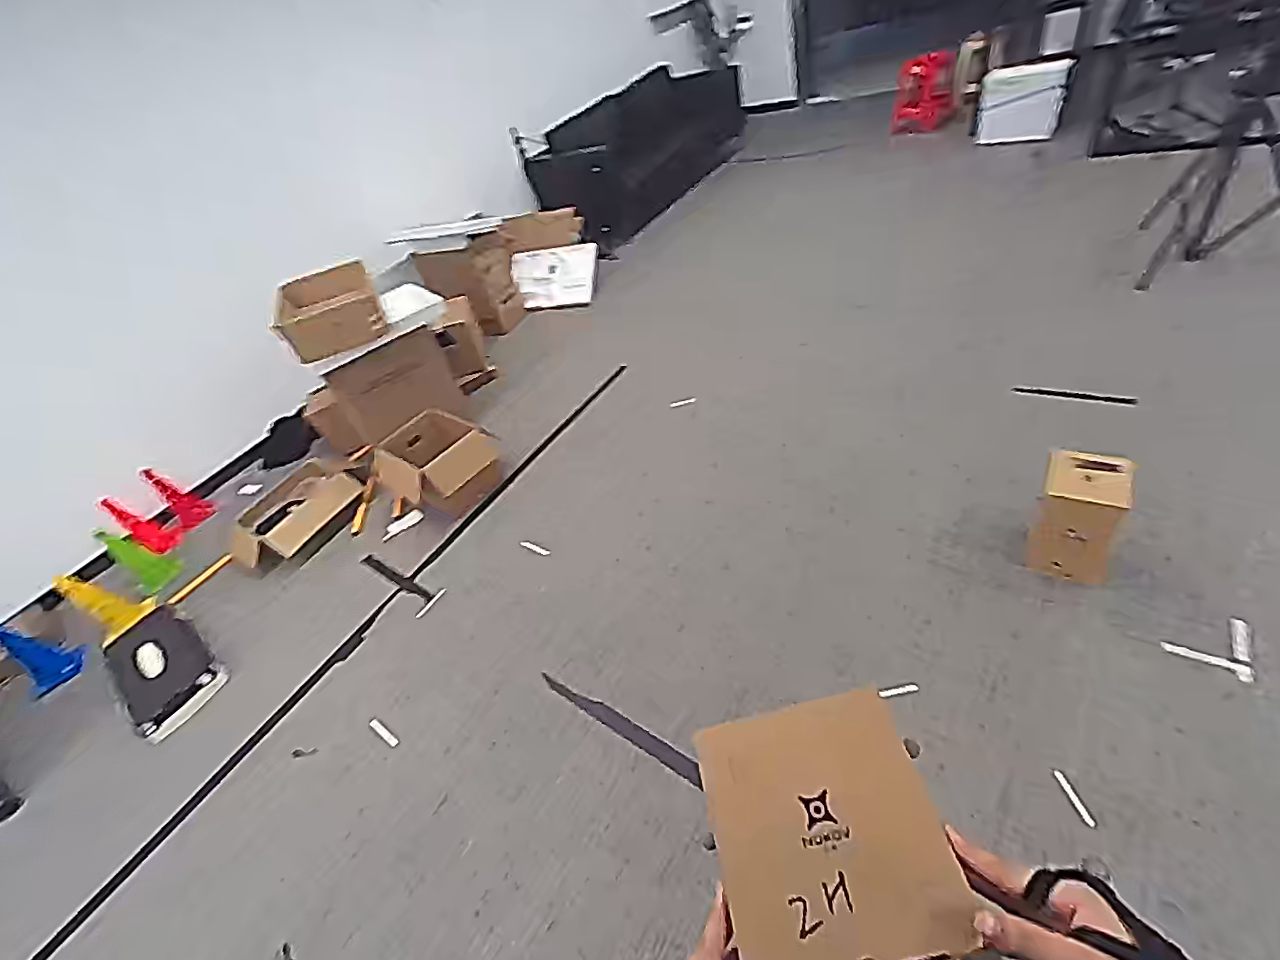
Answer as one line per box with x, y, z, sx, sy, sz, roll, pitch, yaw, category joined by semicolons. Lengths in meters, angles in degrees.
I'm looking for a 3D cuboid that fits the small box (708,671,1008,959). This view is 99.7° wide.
0.167;0.297;0.466;0.168;0.176;0.179;-17;47;6;small box

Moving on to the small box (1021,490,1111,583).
1.209;0.159;1.542;0.168;0.176;0.179;14;52;33;small box
